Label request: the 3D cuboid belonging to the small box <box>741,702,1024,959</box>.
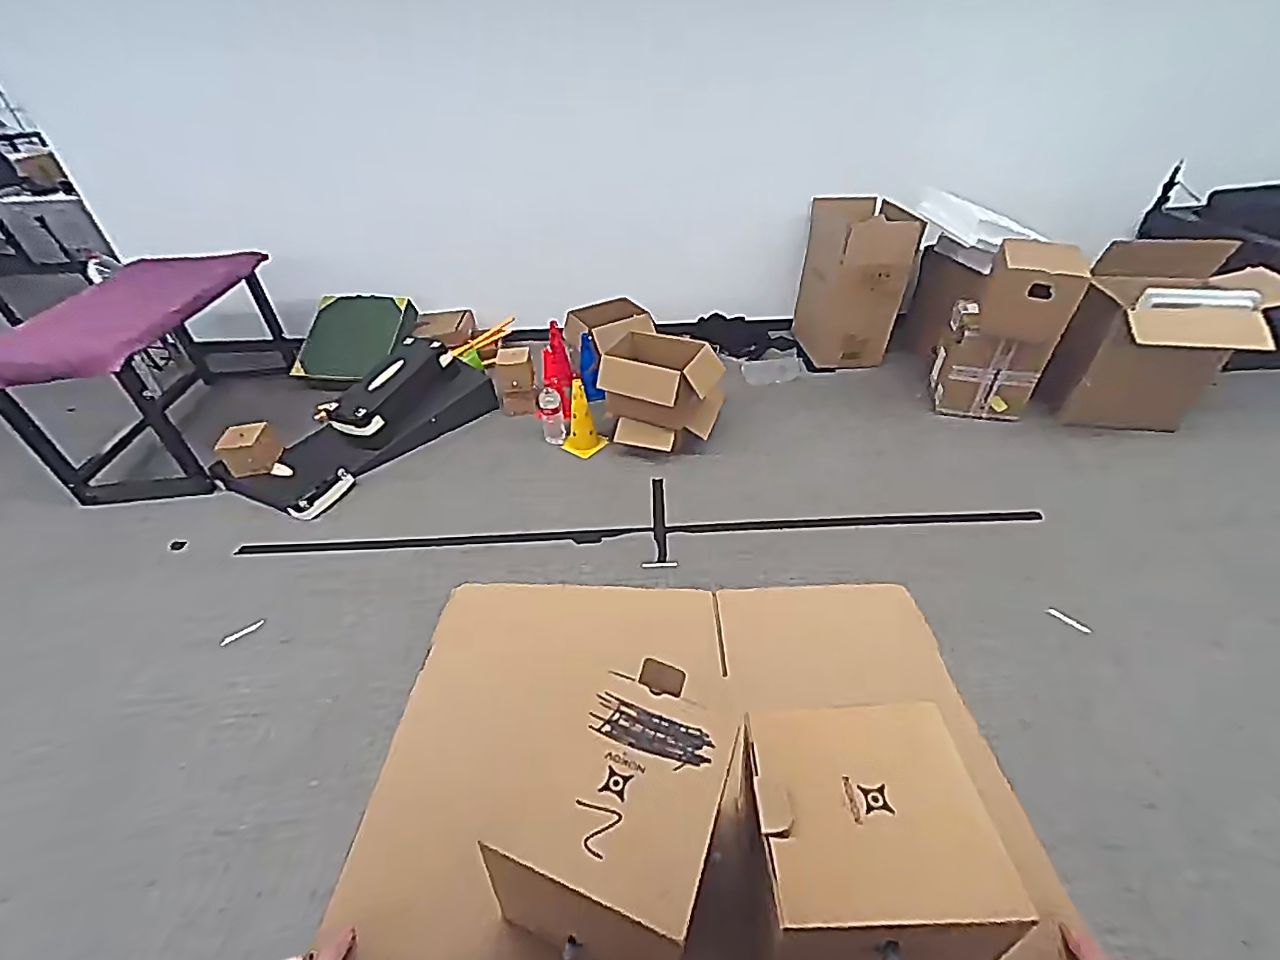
[{"bbox_3d":[0.192,0.327,0.494,0.179,0.176,0.168,-4,35,3],"label":"small box"}]
